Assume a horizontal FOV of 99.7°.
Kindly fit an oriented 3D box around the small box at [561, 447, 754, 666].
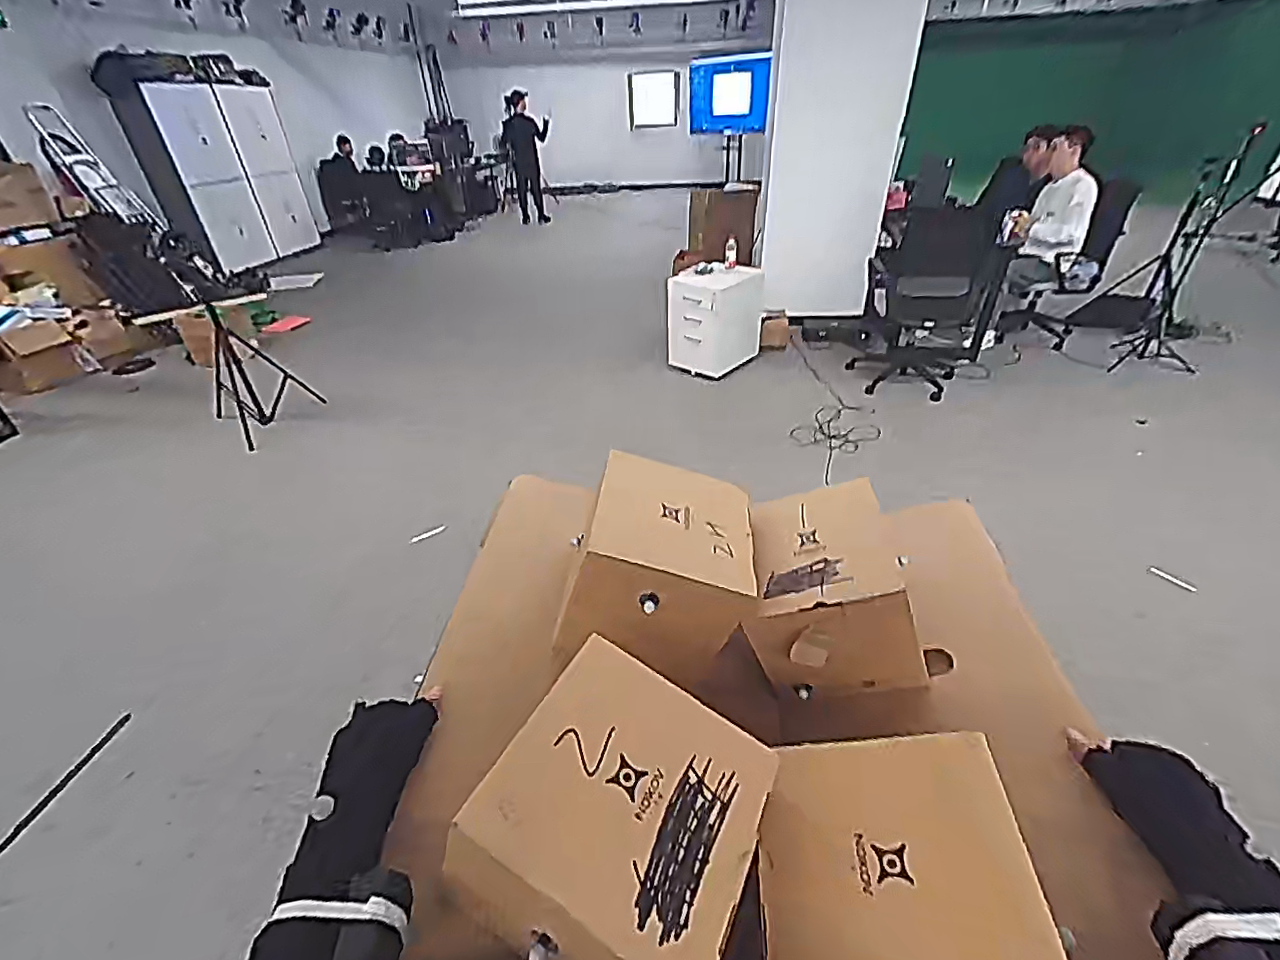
[{"bbox_3d":[0.017,0.093,0.635,0.179,0.176,0.168,17,40,-6],"label":"small box"}]
